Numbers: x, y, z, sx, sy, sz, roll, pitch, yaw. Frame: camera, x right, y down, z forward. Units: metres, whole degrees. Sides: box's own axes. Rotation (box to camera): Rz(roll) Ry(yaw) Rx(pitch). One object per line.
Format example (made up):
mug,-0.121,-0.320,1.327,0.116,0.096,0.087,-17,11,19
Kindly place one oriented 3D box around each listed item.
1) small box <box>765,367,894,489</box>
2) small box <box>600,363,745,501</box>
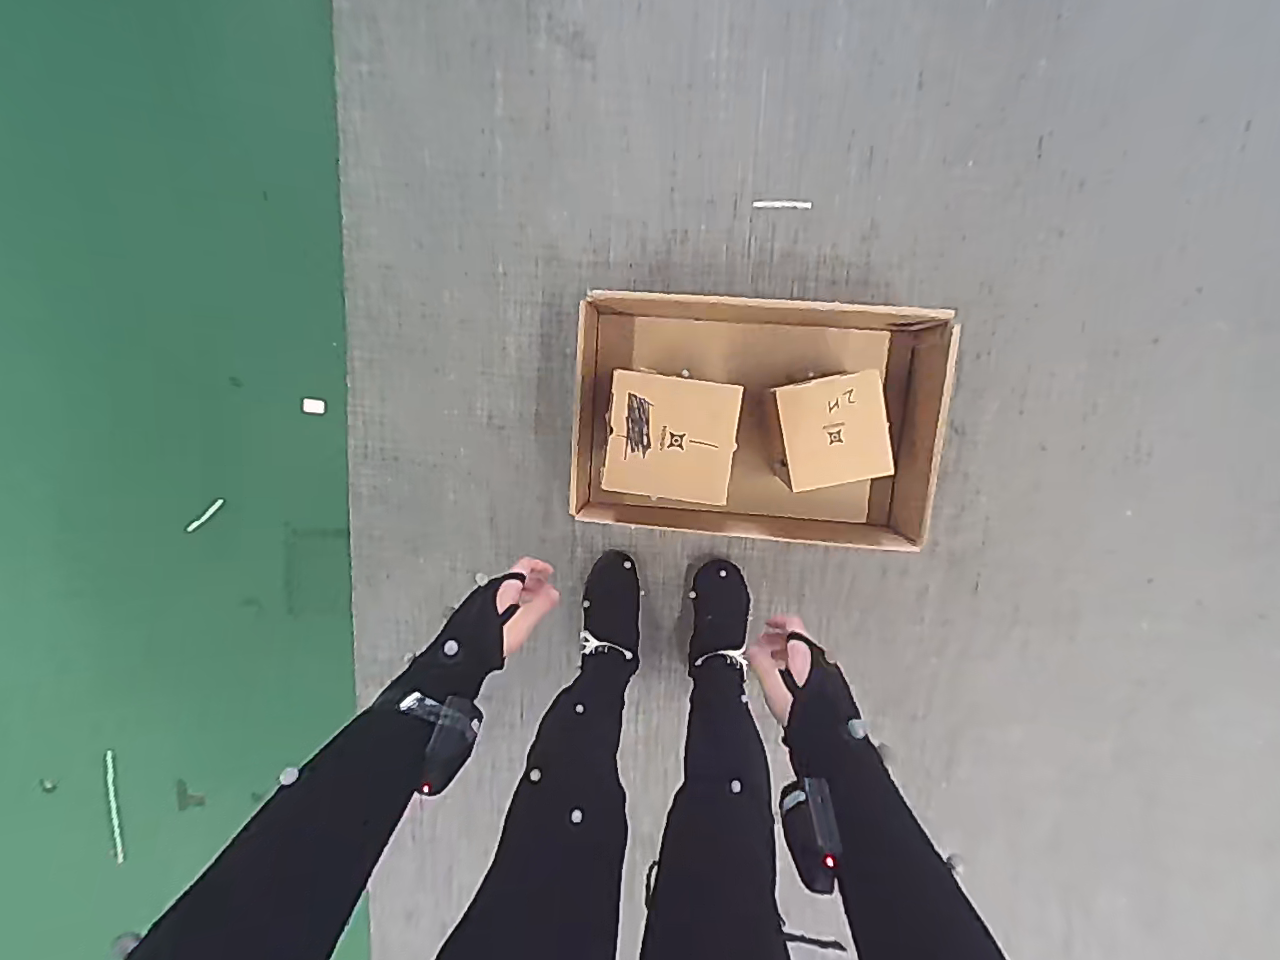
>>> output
small box,0.321,-0.094,0.943,0.168,0.176,0.179,-11,98,7
small box,0.047,-0.074,0.804,0.179,0.176,0.168,8,99,2
